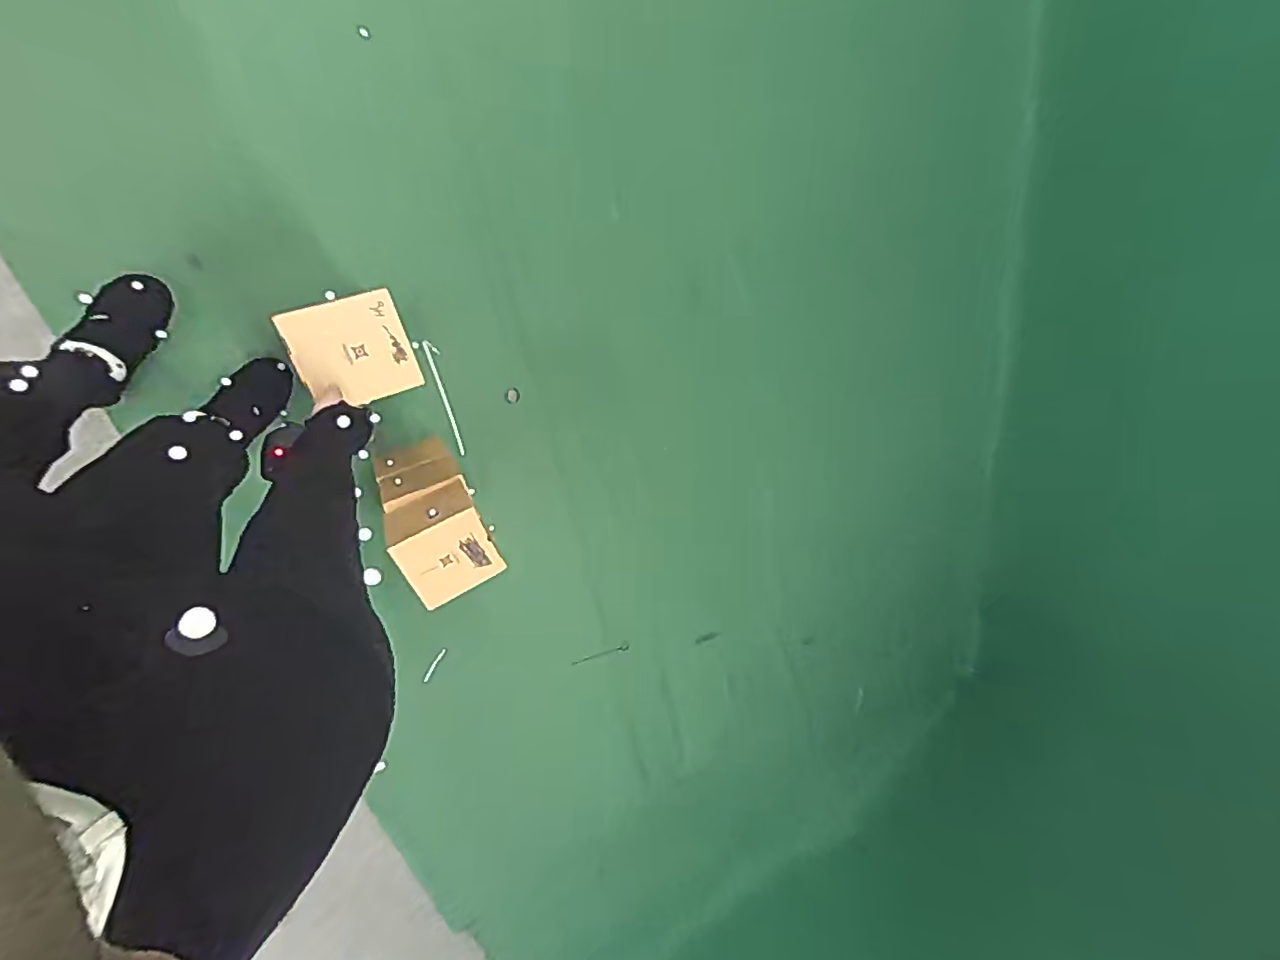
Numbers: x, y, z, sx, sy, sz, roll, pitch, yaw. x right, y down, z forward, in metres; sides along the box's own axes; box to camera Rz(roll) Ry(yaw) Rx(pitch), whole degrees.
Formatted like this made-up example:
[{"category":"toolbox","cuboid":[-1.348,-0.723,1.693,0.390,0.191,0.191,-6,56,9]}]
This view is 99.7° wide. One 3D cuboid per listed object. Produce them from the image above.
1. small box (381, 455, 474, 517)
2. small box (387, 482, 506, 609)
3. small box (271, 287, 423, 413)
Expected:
[{"category":"small box","cuboid":[-0.484,0.061,1.258,0.179,0.176,0.168,-24,119,-19]},{"category":"small box","cuboid":[-0.408,0.127,1.129,0.179,0.176,0.168,-28,120,-15]},{"category":"small box","cuboid":[-0.501,-0.232,0.944,0.179,0.176,0.168,-23,117,-20]}]
